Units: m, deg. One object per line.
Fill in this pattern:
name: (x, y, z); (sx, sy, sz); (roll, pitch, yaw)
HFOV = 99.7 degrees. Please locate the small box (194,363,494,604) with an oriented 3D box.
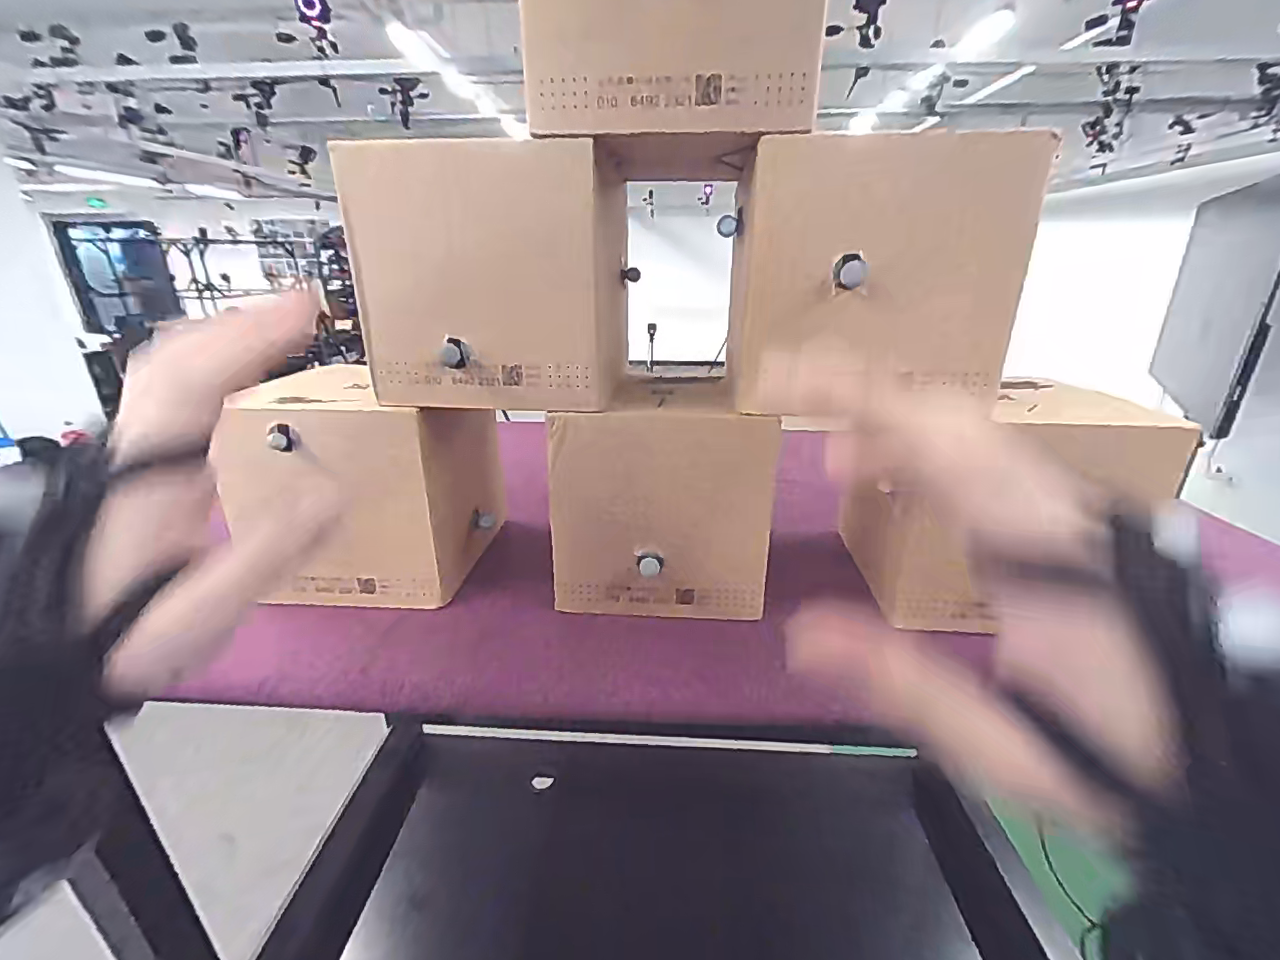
small box: (-0.237, -0.009, 0.487); (0.168, 0.176, 0.179); (1, 20, 3)

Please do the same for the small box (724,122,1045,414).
small box: (0.153, -0.149, 0.409); (0.168, 0.176, 0.179); (2, 20, 4)

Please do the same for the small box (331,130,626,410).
small box: (-0.103, -0.159, 0.428); (0.168, 0.176, 0.179); (2, 21, 5)

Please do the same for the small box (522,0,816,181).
small box: (0.021, -0.307, 0.359); (0.168, 0.176, 0.179); (2, 21, 4)
